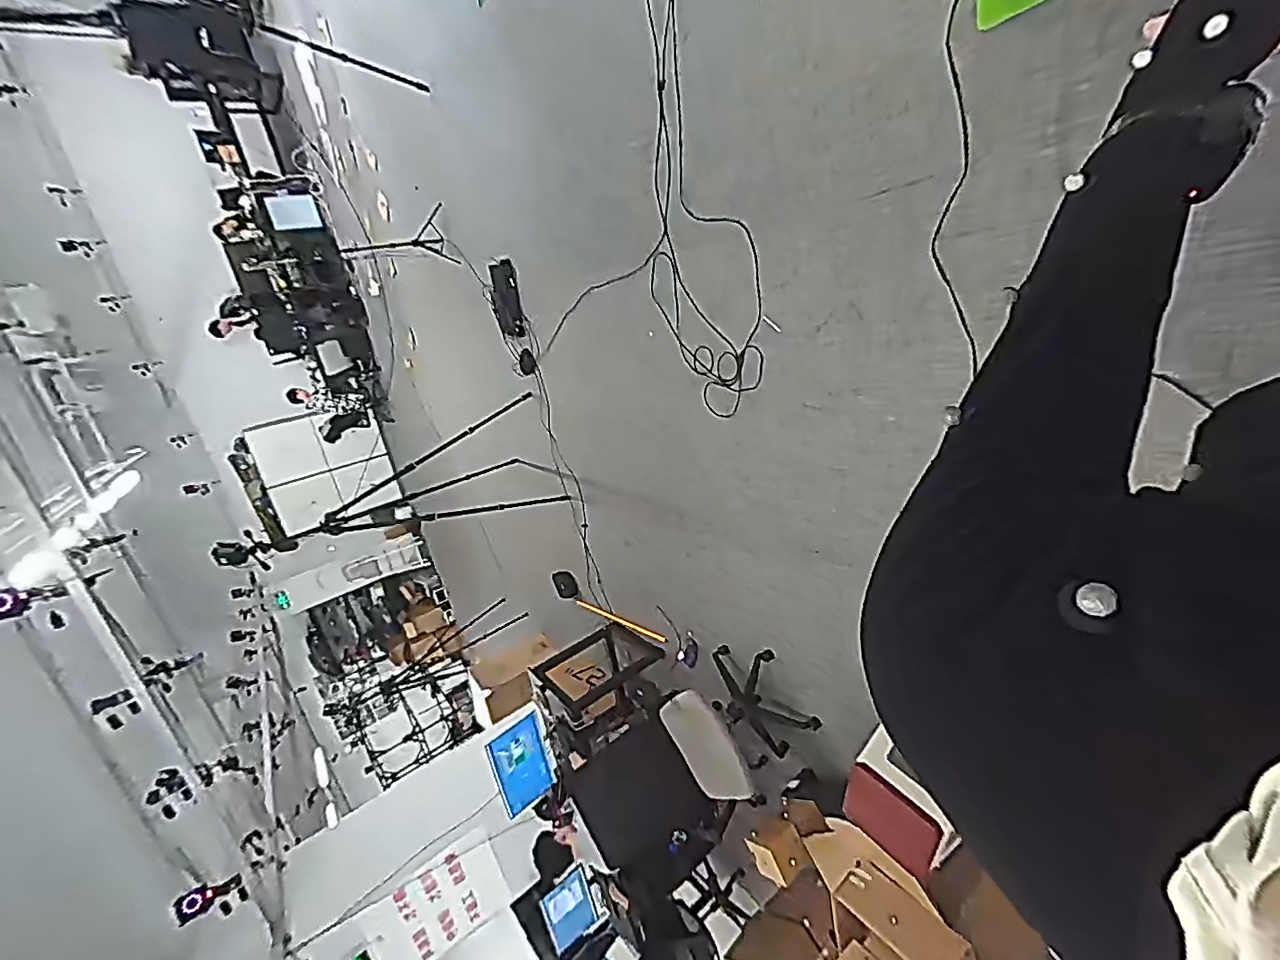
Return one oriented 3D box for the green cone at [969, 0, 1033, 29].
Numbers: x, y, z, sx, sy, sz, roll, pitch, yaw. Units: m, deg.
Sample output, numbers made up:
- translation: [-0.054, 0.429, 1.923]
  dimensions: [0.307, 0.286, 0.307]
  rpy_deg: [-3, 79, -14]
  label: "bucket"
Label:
- translation: [0.657, -1.049, 1.045]
  dimensions: [0.202, 0.368, 0.200]
  rpy_deg: [11, 118, 55]
  label: "green cone"
